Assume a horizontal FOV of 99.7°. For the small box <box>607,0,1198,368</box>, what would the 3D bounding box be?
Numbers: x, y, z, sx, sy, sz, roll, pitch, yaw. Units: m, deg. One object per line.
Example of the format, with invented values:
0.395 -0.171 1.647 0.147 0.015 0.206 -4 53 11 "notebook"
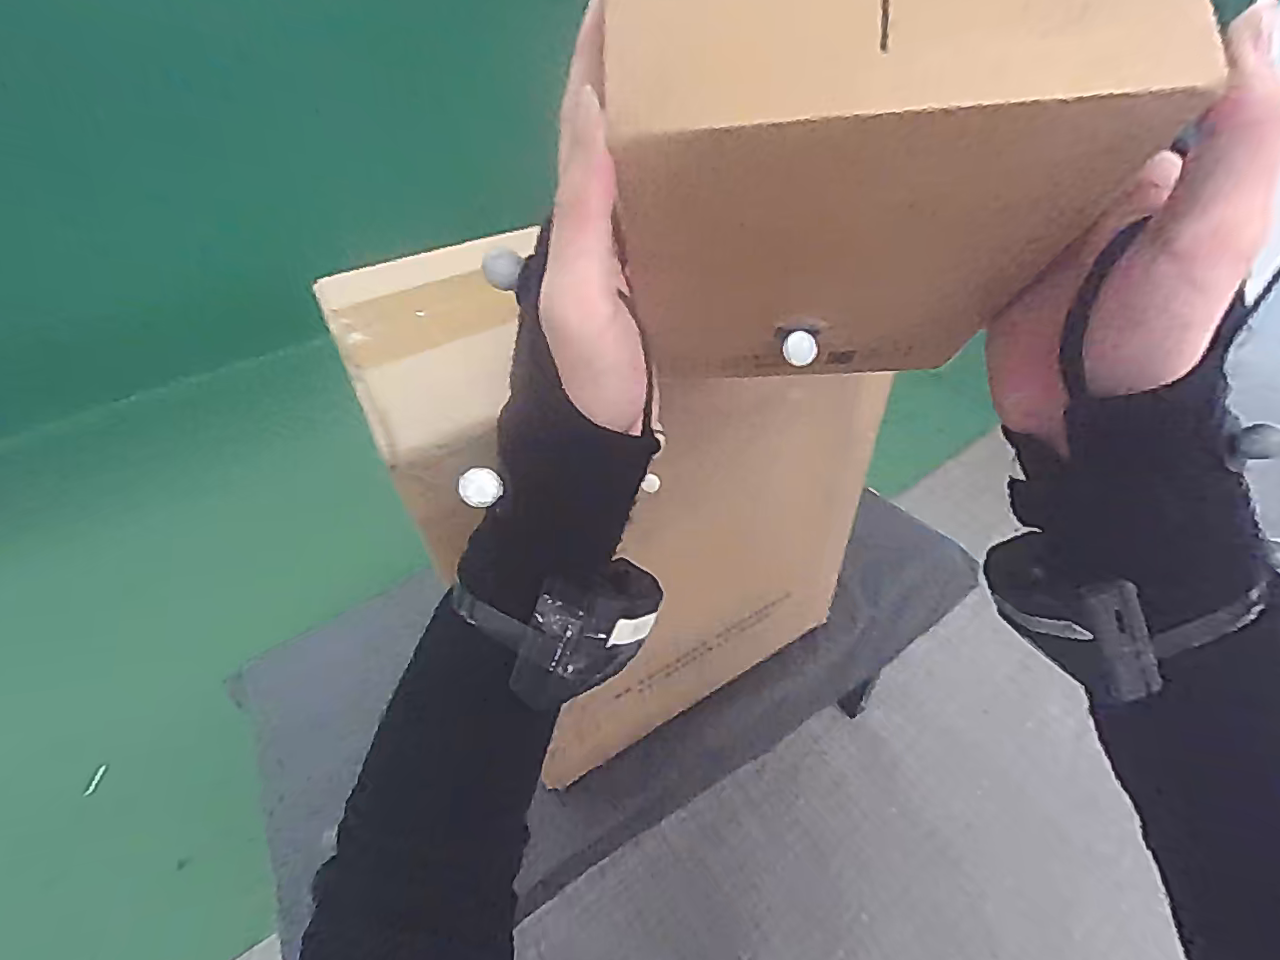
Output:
0.079 -0.169 0.252 0.168 0.176 0.179 -1 76 5 "small box"
